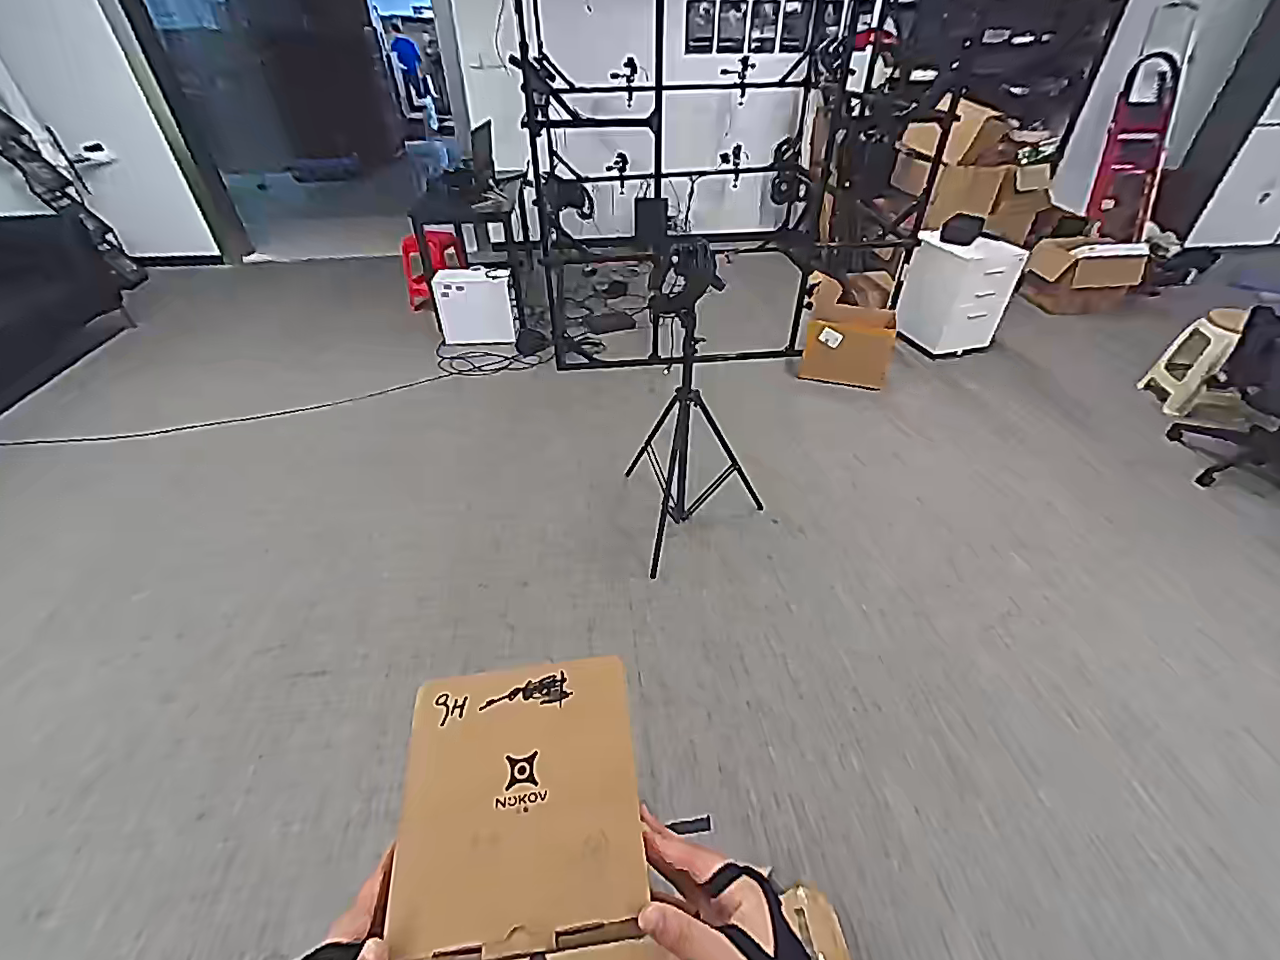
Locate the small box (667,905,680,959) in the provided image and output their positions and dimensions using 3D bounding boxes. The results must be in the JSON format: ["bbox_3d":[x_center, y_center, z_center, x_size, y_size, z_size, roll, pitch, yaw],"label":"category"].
[{"bbox_3d":[0.144,0.909,1.000,0.168,0.176,0.179,-5,39,-5],"label":"small box"}]

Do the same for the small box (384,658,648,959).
[{"bbox_3d":[-0.085,0.272,0.444,0.168,0.176,0.179,-6,49,-5],"label":"small box"}]

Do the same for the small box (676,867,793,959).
[{"bbox_3d":[0.151,0.779,0.900,0.168,0.176,0.179,-3,39,-2],"label":"small box"}]
